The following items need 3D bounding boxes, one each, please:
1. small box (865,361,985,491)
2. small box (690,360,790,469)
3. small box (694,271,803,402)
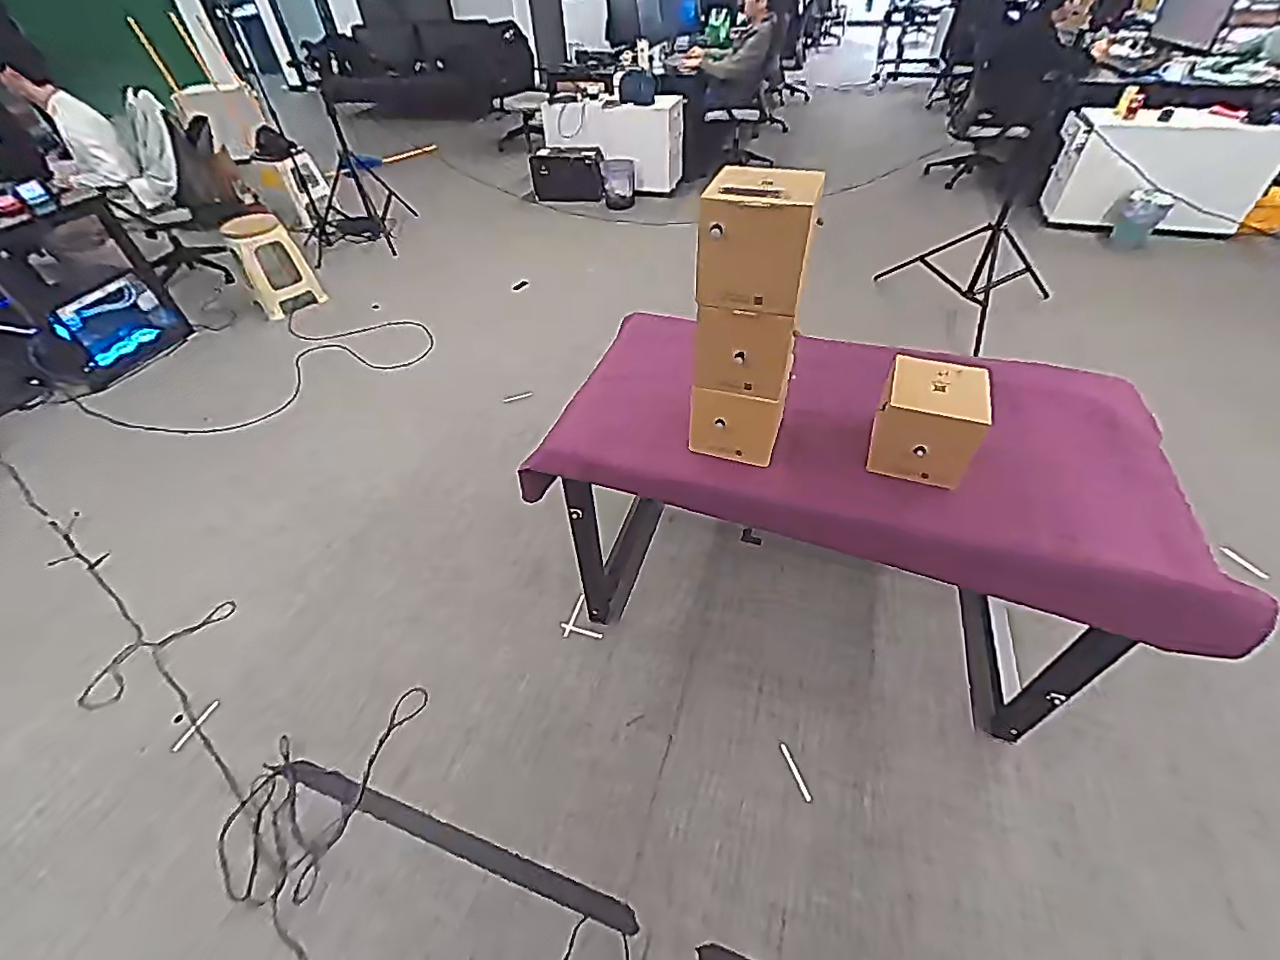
[{"bbox_3d":[0.552,-0.105,1.060,0.168,0.176,0.179,15,47,16],"label":"small box"},{"bbox_3d":[0.204,-0.146,1.120,0.168,0.176,0.179,13,46,15],"label":"small box"},{"bbox_3d":[0.200,-0.266,1.009,0.168,0.176,0.179,12,47,14],"label":"small box"}]
